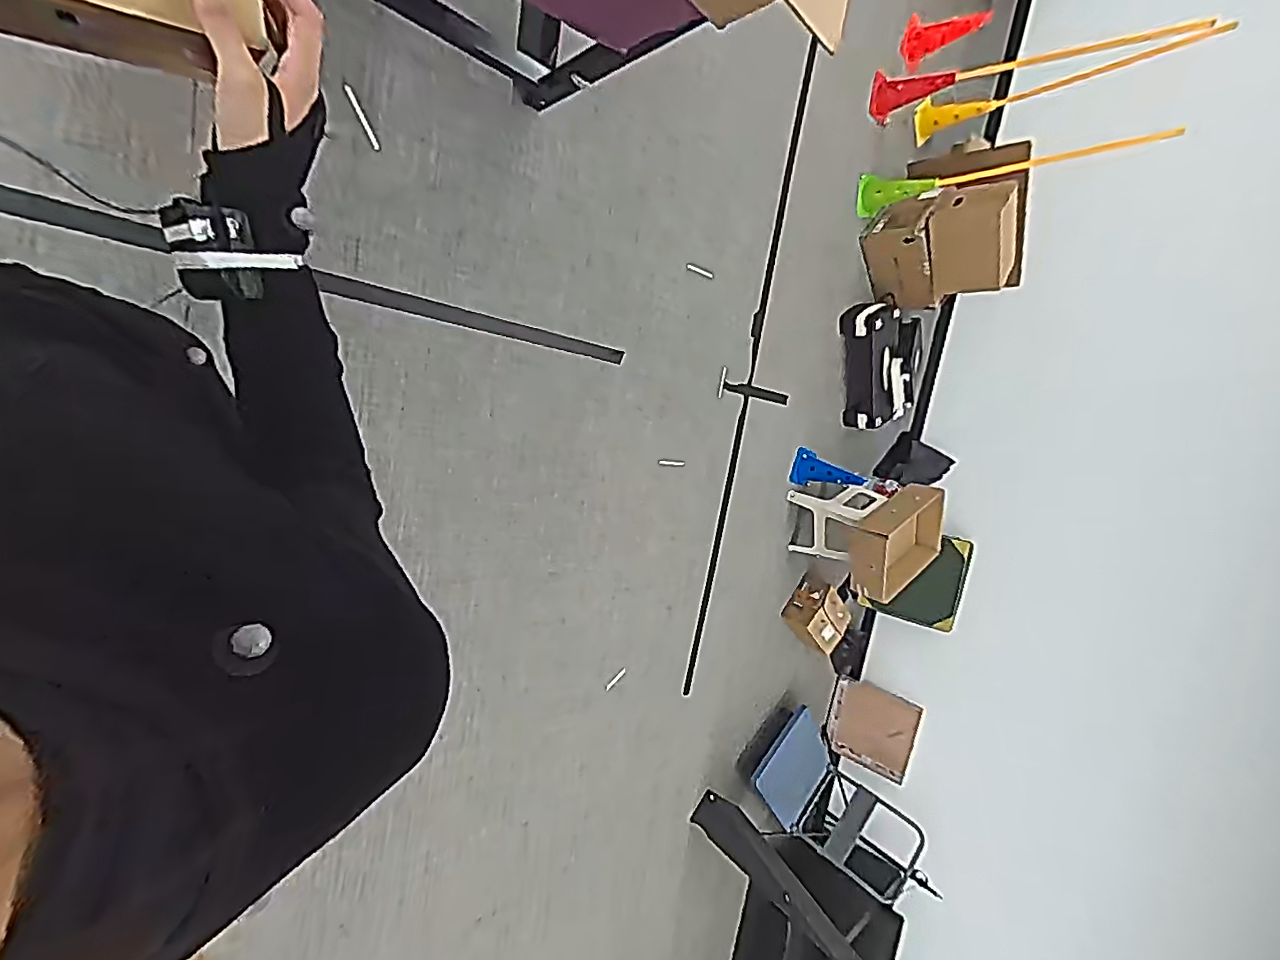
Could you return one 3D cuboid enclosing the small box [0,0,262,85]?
[{"bbox_3d":[-0.371,-0.385,0.350,0.179,0.176,0.168,-12,118,-40],"label":"small box"}]
